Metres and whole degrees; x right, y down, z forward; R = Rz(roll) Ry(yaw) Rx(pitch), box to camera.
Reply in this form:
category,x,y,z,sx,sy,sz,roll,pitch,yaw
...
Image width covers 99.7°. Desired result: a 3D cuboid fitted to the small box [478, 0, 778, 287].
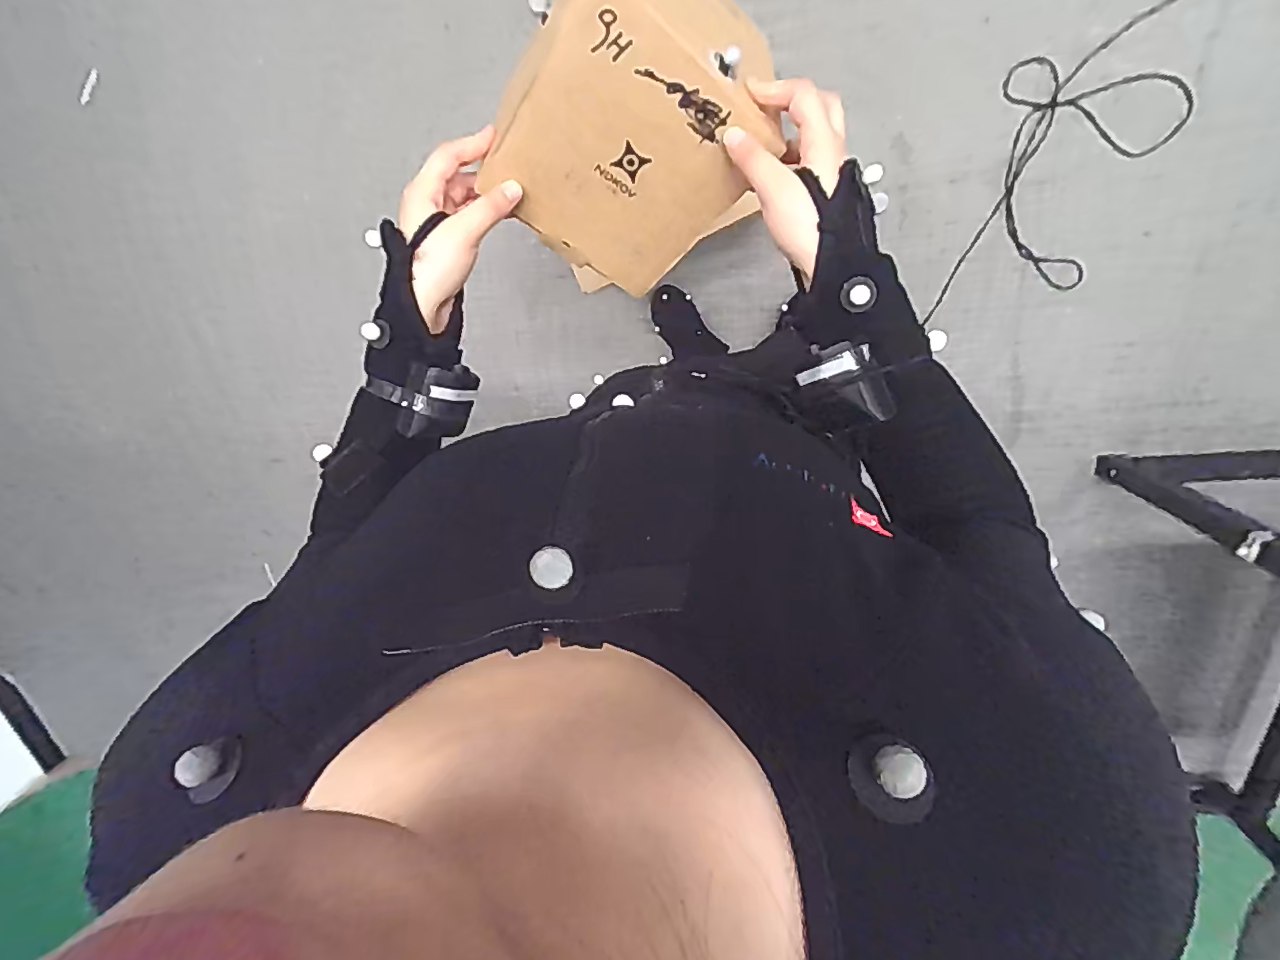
category,x,y,z,sx,sy,sz,roll,pitch,yaw
small box,-0.007,-0.308,0.447,0.168,0.176,0.179,24,144,-31
